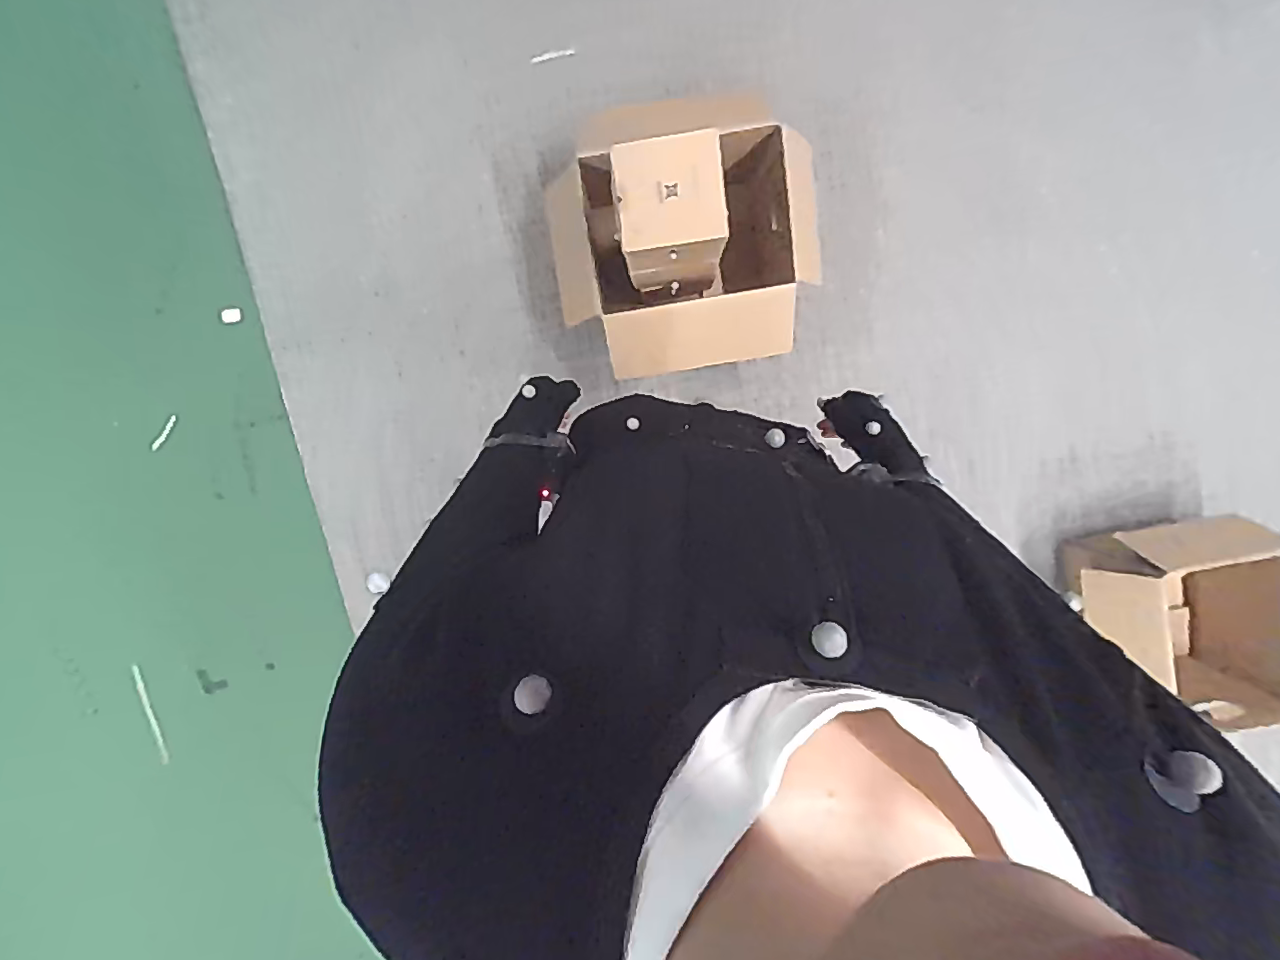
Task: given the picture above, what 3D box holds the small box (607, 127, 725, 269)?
[{"bbox_3d":[0.047,-0.484,0.954,0.179,0.176,0.168,-9,101,4],"label":"small box"}]
